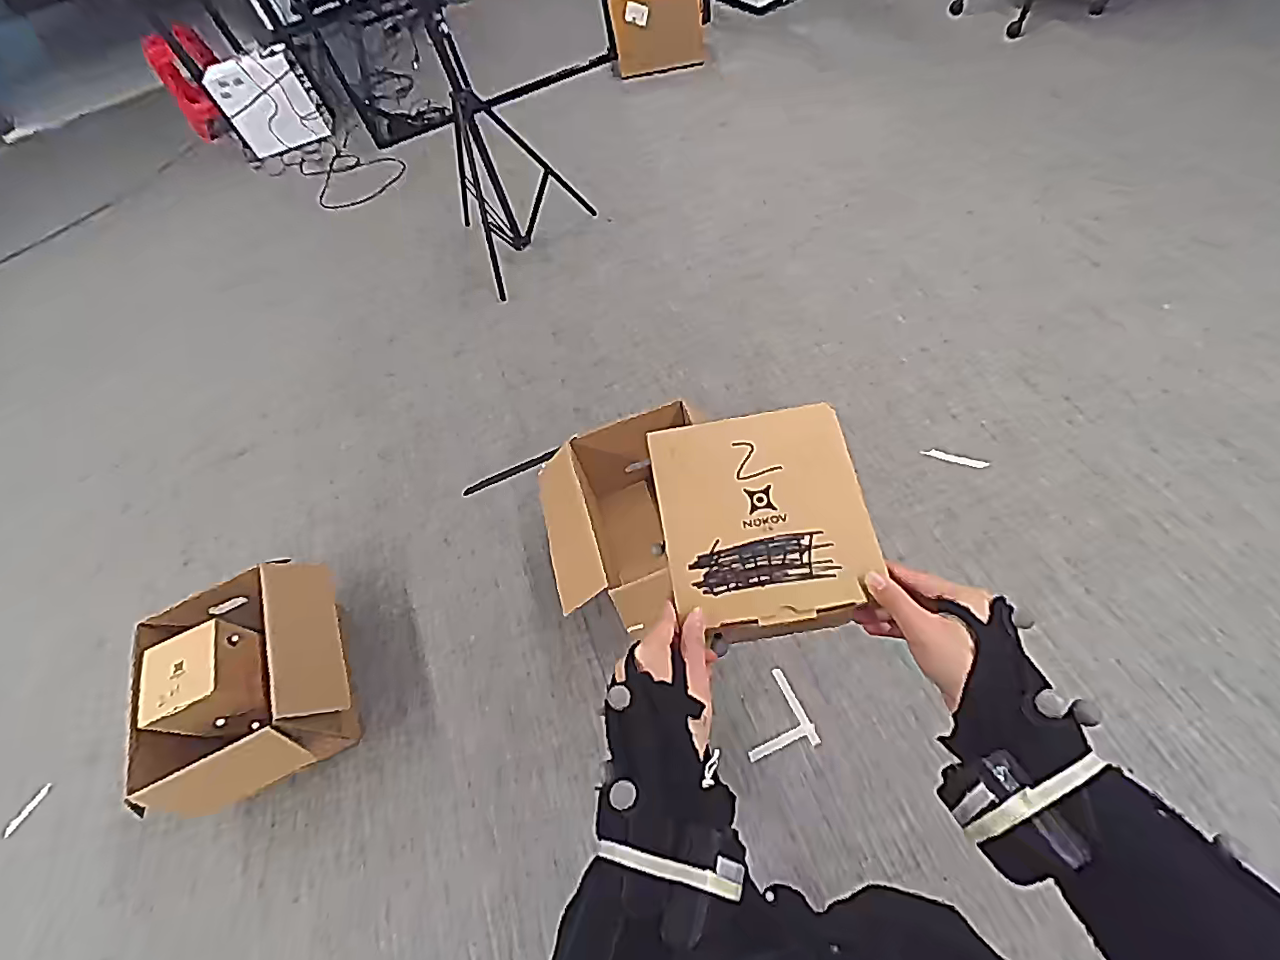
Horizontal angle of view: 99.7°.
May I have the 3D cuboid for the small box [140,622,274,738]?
[{"bbox_3d":[-0.959,0.453,1.214,0.168,0.176,0.179,-26,58,-4],"label":"small box"}]
